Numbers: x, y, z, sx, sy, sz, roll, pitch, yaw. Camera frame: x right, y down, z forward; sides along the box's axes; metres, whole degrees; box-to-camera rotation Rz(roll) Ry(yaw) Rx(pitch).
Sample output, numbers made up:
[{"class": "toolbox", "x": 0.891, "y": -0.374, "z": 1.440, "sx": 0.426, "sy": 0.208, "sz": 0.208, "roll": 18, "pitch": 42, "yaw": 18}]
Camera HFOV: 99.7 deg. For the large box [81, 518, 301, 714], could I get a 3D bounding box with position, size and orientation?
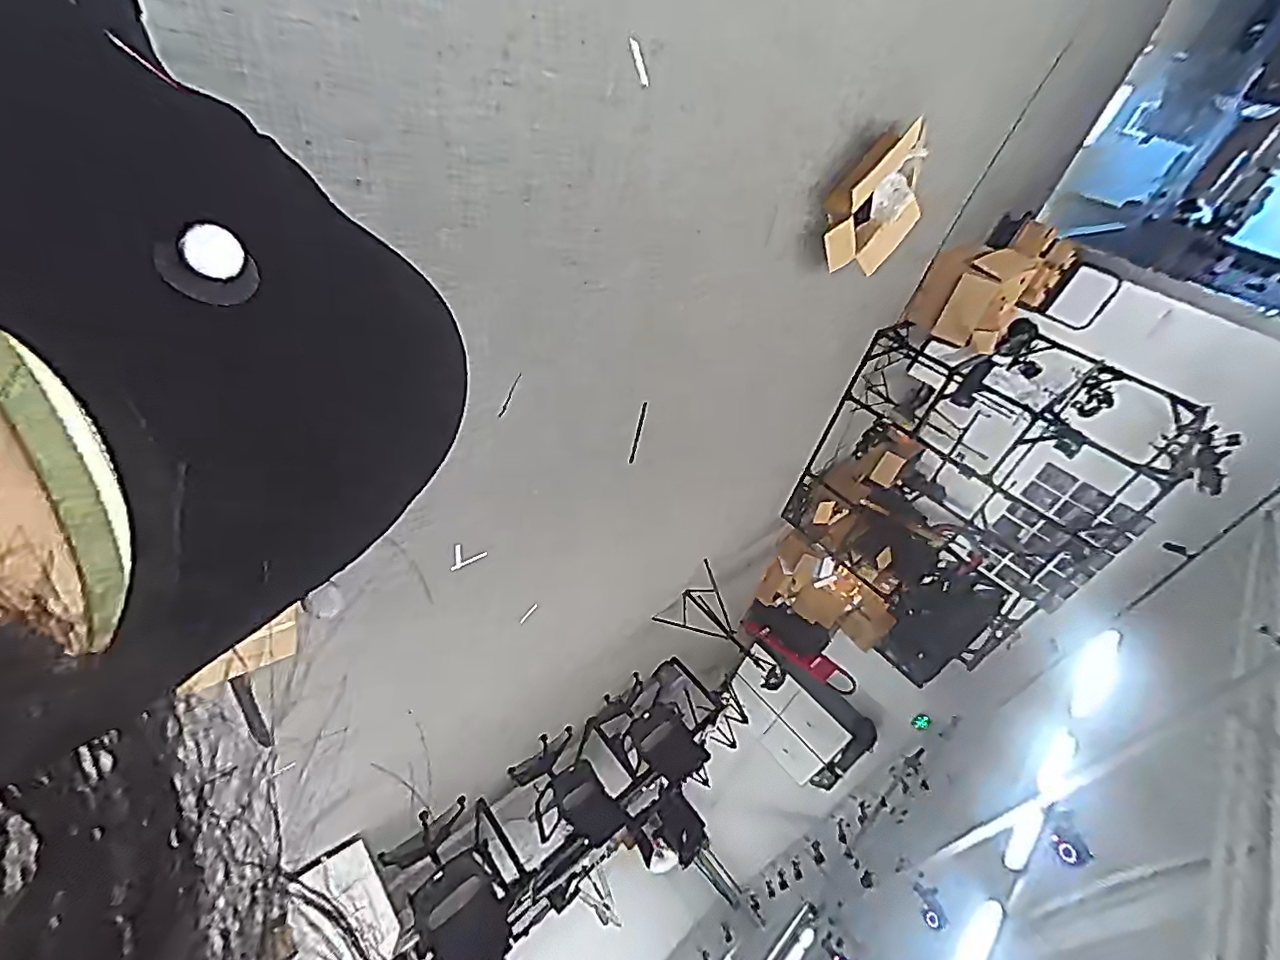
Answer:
[{"class": "large box", "x": -1.240, "y": 0.360, "z": 1.527, "sx": 0.408, "sy": 0.320, "sz": 0.320, "roll": -18, "pitch": 139, "yaw": -44}]
